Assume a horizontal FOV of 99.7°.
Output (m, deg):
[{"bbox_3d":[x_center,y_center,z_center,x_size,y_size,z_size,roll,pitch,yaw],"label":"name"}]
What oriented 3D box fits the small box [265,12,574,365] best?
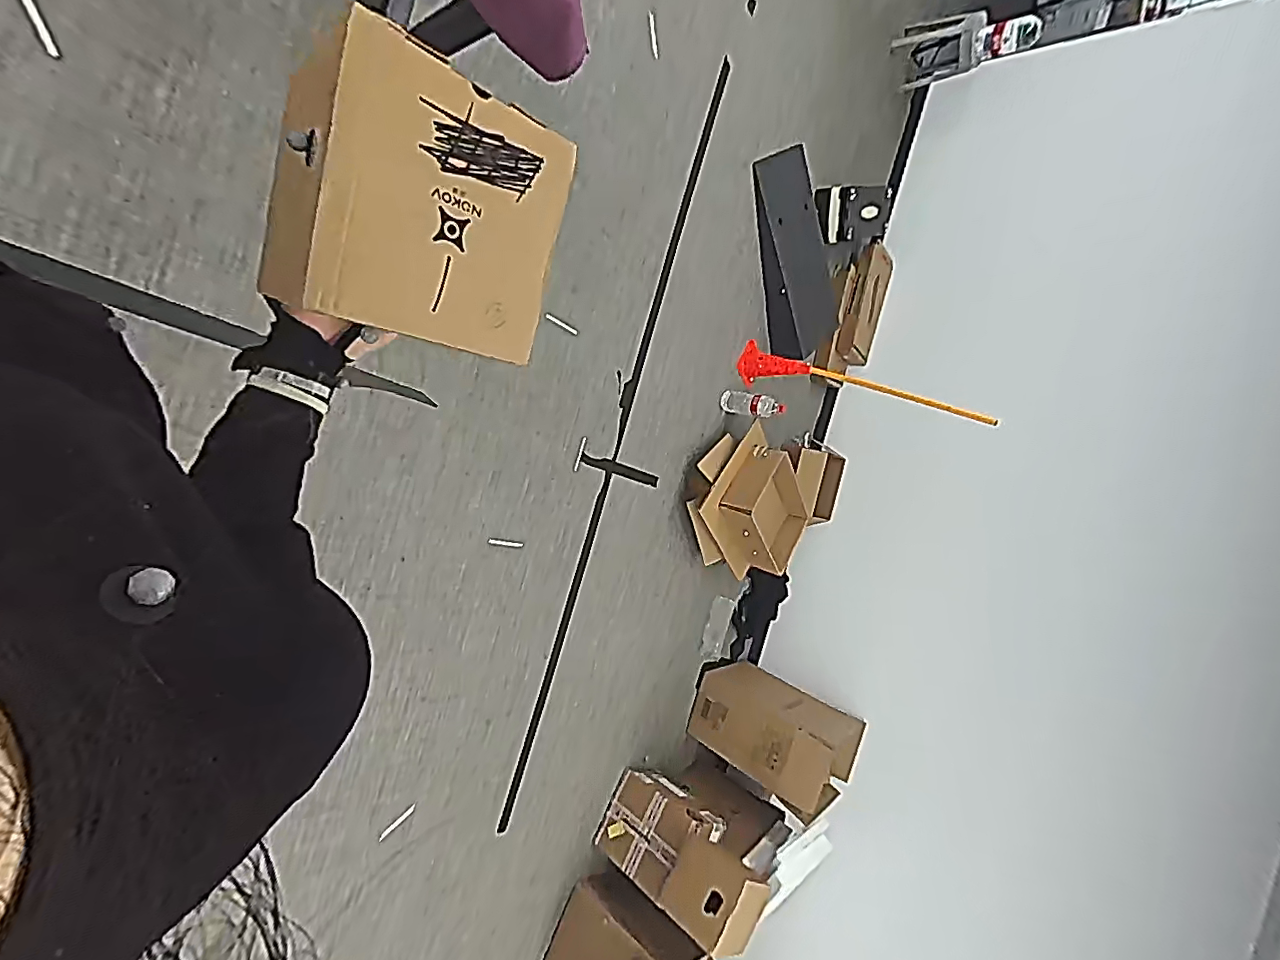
[{"bbox_3d":[-0.183,-0.209,0.437,0.168,0.176,0.179,6,104,-45],"label":"small box"}]
